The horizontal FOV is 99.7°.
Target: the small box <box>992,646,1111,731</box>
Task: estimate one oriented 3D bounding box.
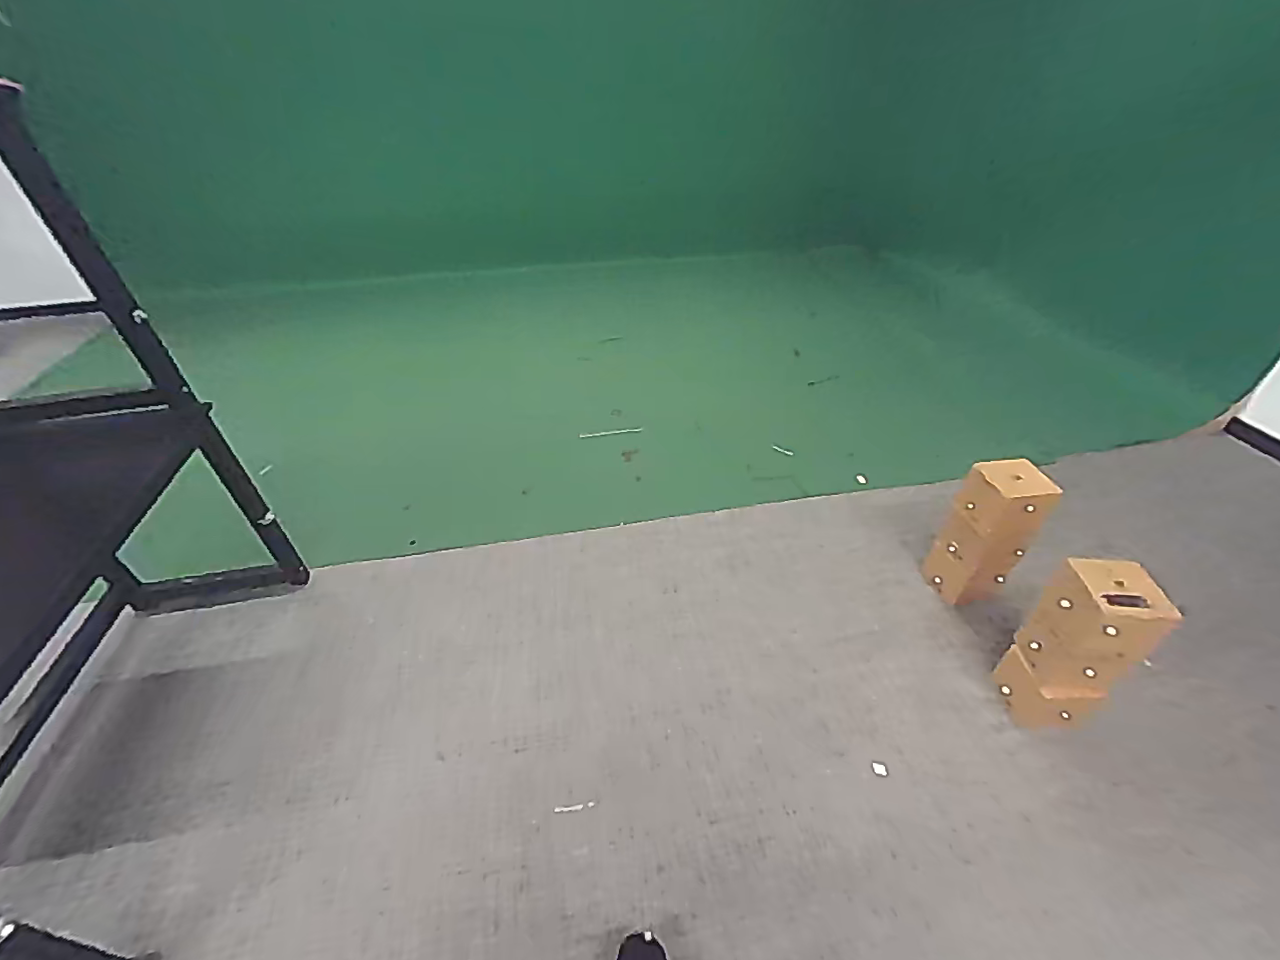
[{"bbox_3d":[1.131,0.581,1.505,0.179,0.176,0.168,-1,39,1],"label":"small box"}]

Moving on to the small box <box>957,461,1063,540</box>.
[{"bbox_3d":[1.101,0.064,1.627,0.179,0.176,0.168,-5,39,-5],"label":"small box"}]

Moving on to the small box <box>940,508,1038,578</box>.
[{"bbox_3d":[1.107,0.189,1.730,0.179,0.176,0.168,-10,39,-10],"label":"small box"}]

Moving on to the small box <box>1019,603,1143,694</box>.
[{"bbox_3d":[1.137,0.443,1.418,0.179,0.176,0.168,1,39,4],"label":"small box"}]

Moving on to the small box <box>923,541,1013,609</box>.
[{"bbox_3d":[1.105,0.312,1.836,0.179,0.176,0.168,-10,40,-10],"label":"small box"}]
